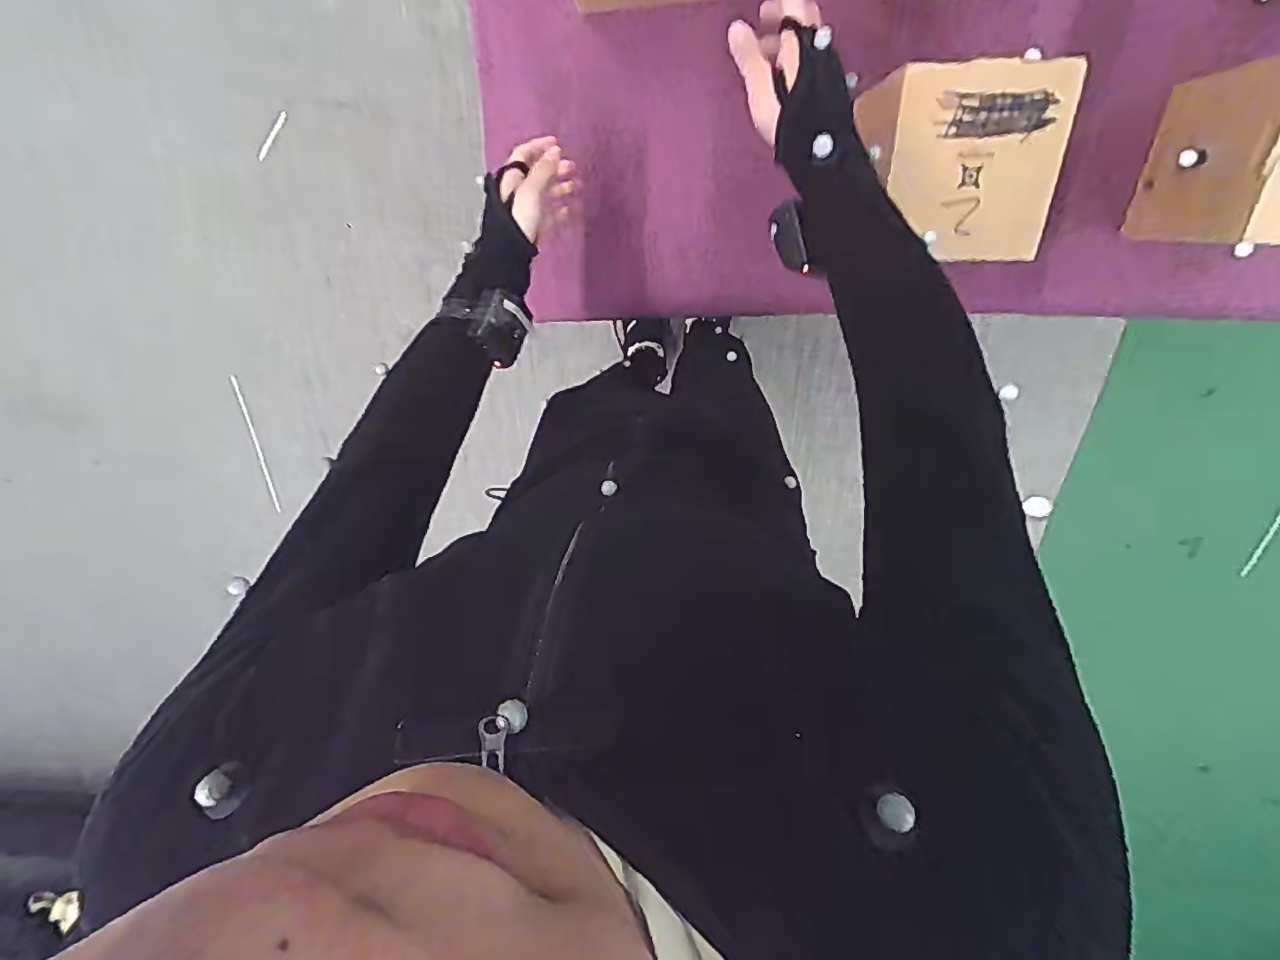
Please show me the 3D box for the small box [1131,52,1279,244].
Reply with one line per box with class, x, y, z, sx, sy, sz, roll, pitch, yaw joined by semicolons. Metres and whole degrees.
small box;0.690;-0.342;0.571;0.179;0.176;0.168;4;116;4
